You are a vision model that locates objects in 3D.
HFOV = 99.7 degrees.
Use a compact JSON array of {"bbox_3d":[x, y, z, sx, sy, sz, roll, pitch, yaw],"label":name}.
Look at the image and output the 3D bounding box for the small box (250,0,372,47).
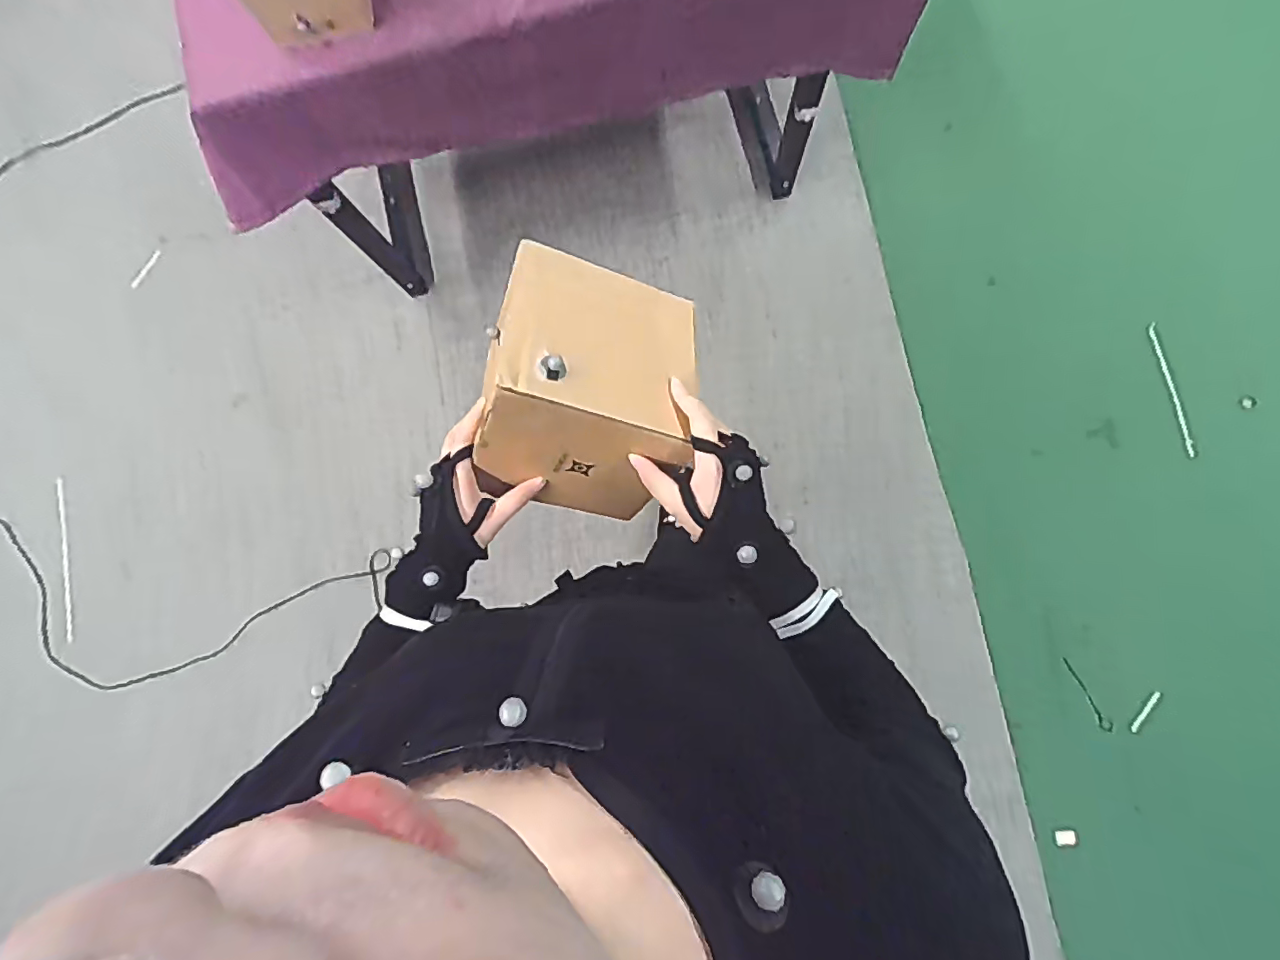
[{"bbox_3d":[-0.543,-0.834,0.841,0.168,0.176,0.179,-9,83,3],"label":"small box"}]
